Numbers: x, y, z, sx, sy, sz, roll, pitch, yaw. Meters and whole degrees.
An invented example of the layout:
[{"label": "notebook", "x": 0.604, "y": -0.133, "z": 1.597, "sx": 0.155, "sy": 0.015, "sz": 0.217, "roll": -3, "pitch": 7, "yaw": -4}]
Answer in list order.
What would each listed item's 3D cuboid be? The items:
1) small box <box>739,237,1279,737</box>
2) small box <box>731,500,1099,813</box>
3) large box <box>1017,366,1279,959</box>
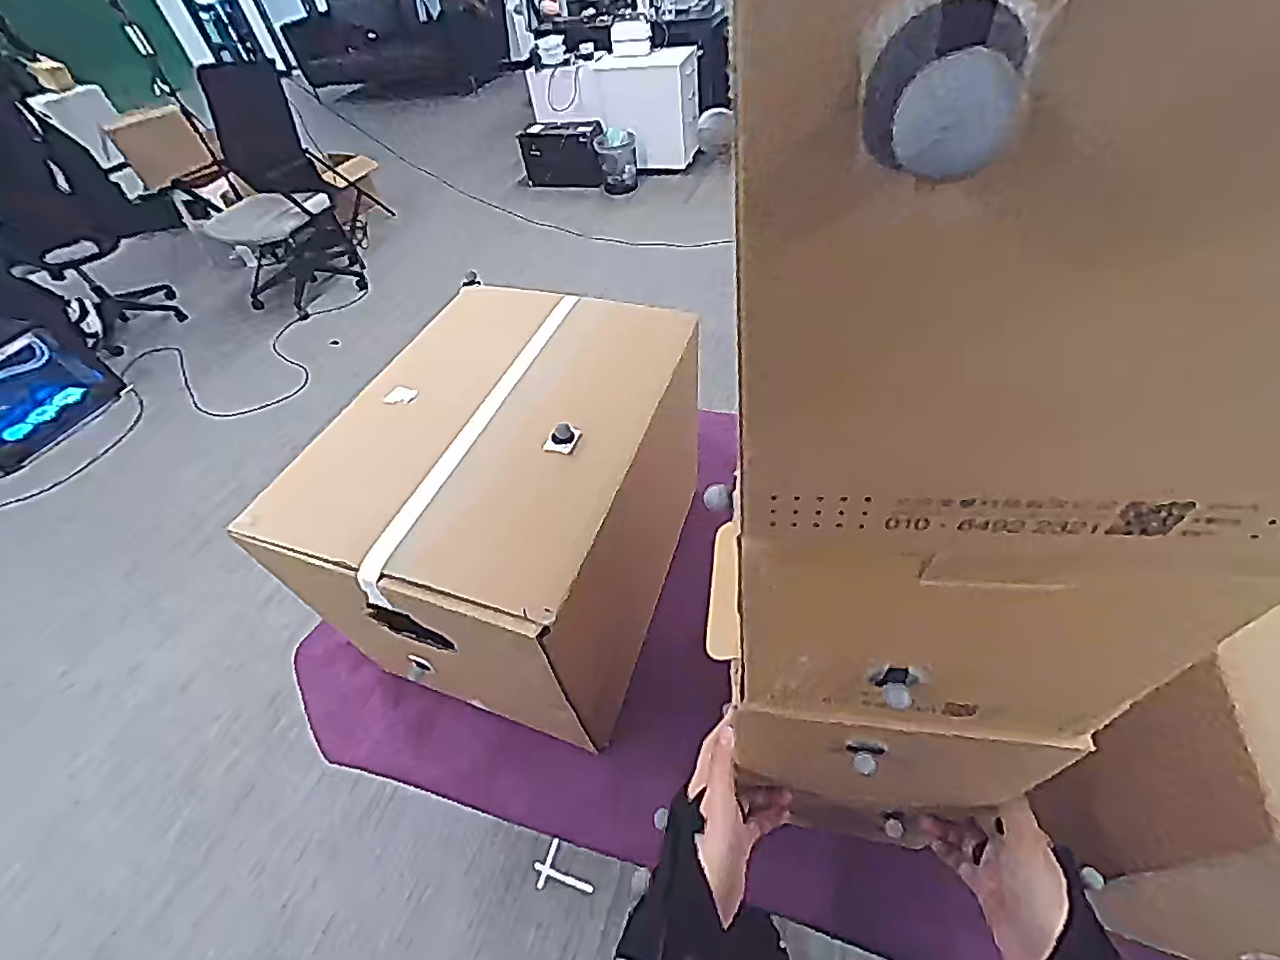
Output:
[{"label": "small box", "x": 0.135, "y": 0.005, "z": 0.268, "sx": 0.168, "sy": 0.176, "sz": 0.179, "roll": 0, "pitch": 50, "yaw": 11}, {"label": "small box", "x": 0.159, "y": 0.118, "z": 0.383, "sx": 0.179, "sy": 0.176, "sz": 0.168, "roll": 2, "pitch": 50, "yaw": 12}, {"label": "large box", "x": 0.528, "y": 0.158, "z": 0.443, "sx": 0.320, "sy": 0.320, "sz": 0.408, "roll": 11, "pitch": 50, "yaw": 17}]
